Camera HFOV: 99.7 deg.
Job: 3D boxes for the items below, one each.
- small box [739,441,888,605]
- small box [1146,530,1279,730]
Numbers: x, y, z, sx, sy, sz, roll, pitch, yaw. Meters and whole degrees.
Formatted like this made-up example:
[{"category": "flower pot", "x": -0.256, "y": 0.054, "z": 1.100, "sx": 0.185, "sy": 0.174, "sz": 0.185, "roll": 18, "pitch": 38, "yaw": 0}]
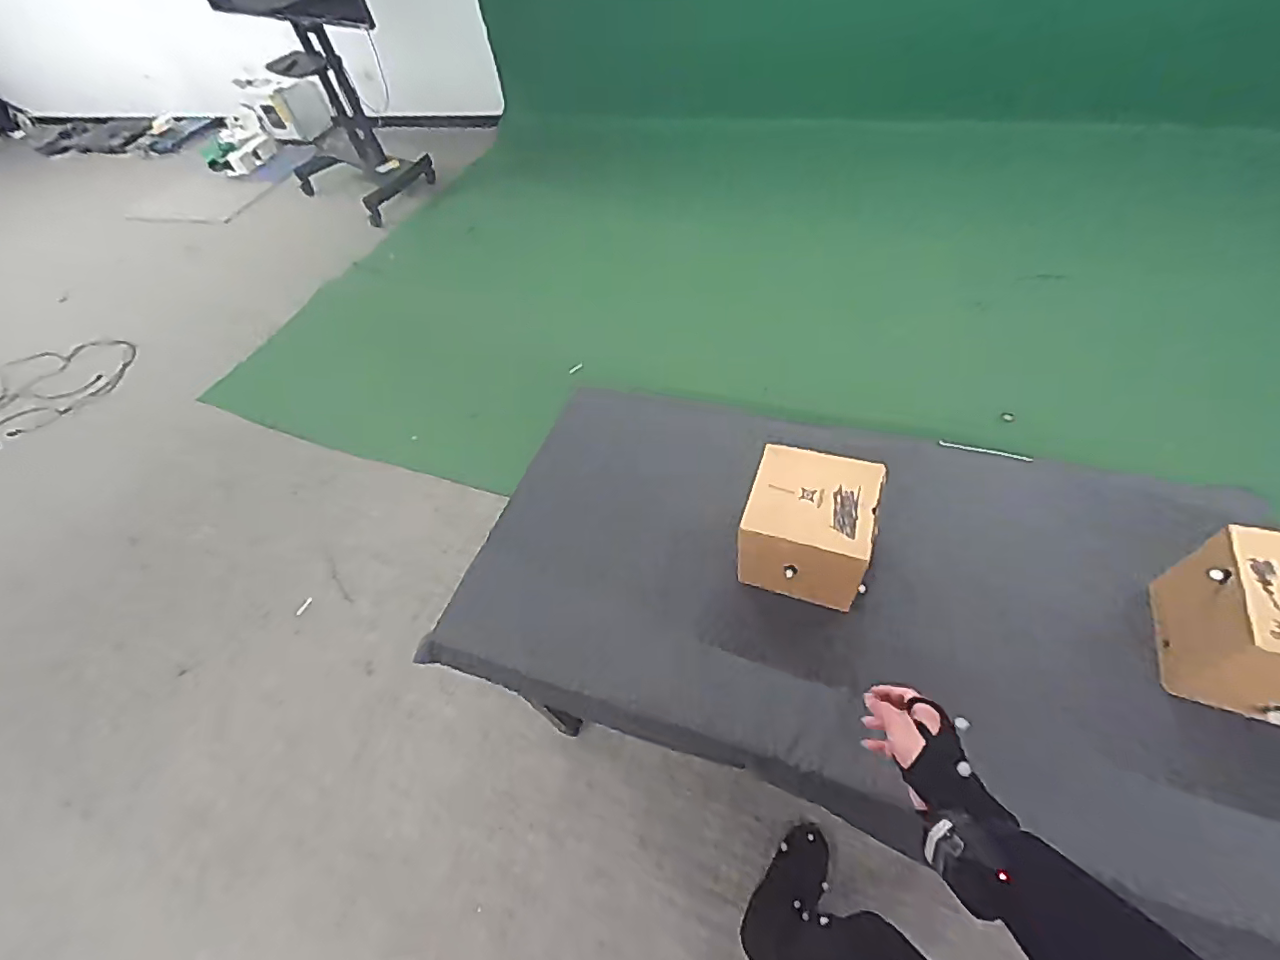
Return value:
[{"category": "small box", "x": 0.258, "y": 0.070, "z": 0.826, "sx": 0.179, "sy": 0.176, "sz": 0.168, "roll": 14, "pitch": 56, "yaw": 19}, {"category": "small box", "x": 0.777, "y": 0.191, "z": 0.657, "sx": 0.179, "sy": 0.176, "sz": 0.168, "roll": 15, "pitch": 56, "yaw": 19}]
